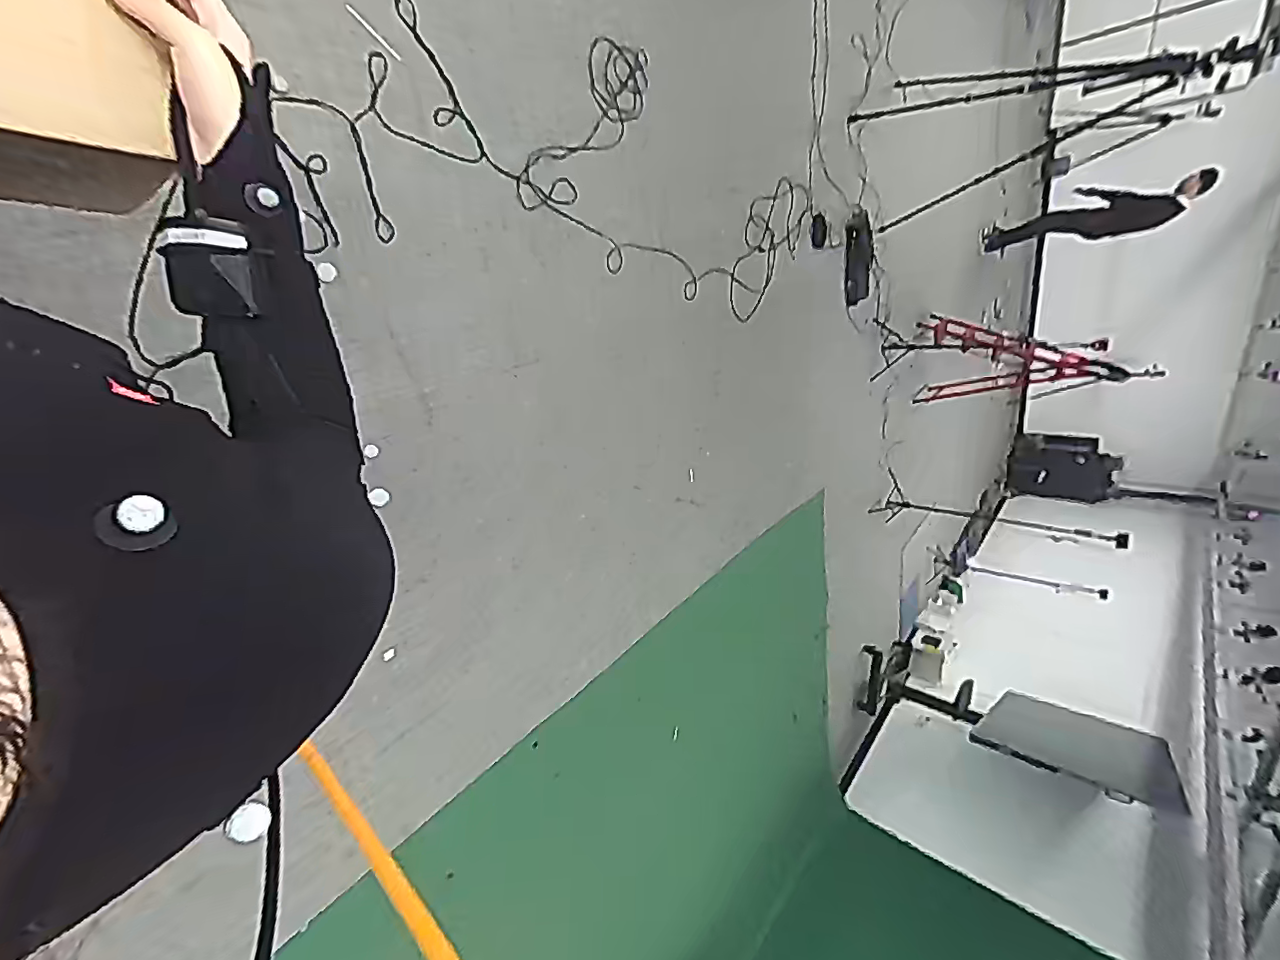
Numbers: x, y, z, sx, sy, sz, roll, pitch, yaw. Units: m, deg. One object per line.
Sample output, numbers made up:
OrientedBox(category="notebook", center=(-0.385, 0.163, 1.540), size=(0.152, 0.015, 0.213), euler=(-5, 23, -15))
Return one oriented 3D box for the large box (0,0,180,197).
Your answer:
OrientedBox(category="large box", center=(-0.561, -0.368, 0.285), size=(0.408, 0.320, 0.320), euler=(-17, 114, -47))
